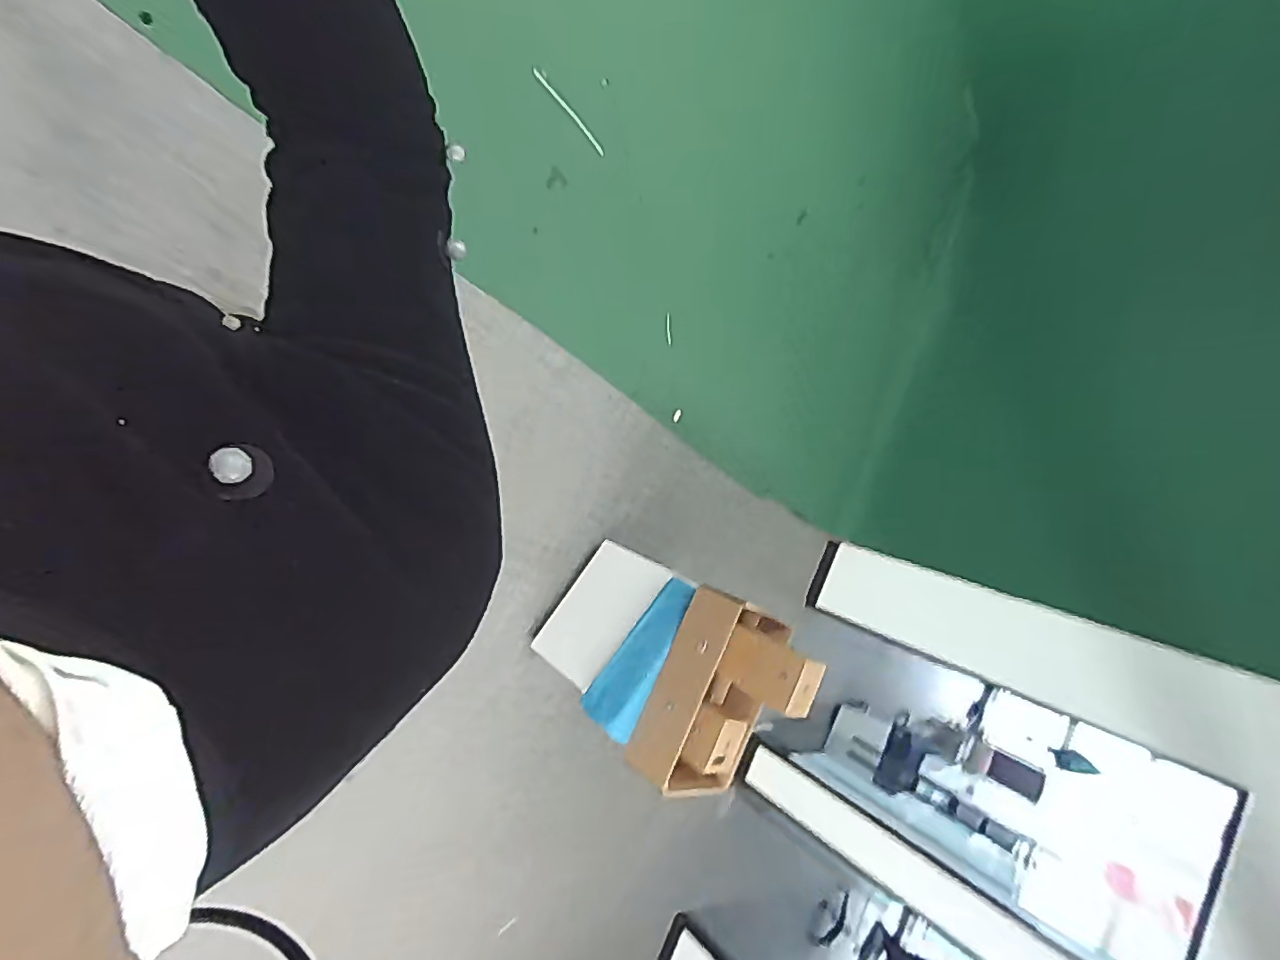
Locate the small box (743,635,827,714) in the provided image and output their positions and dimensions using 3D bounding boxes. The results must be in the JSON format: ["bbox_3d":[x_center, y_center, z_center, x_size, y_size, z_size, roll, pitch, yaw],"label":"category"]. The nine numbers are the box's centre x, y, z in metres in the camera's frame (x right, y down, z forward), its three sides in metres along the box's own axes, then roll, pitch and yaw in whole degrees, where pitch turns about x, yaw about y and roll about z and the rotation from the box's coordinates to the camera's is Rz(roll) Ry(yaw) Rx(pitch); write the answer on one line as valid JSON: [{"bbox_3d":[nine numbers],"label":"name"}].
[{"bbox_3d":[0.449,0.603,1.685,0.168,0.176,0.179,29,84,-45],"label":"small box"}]
